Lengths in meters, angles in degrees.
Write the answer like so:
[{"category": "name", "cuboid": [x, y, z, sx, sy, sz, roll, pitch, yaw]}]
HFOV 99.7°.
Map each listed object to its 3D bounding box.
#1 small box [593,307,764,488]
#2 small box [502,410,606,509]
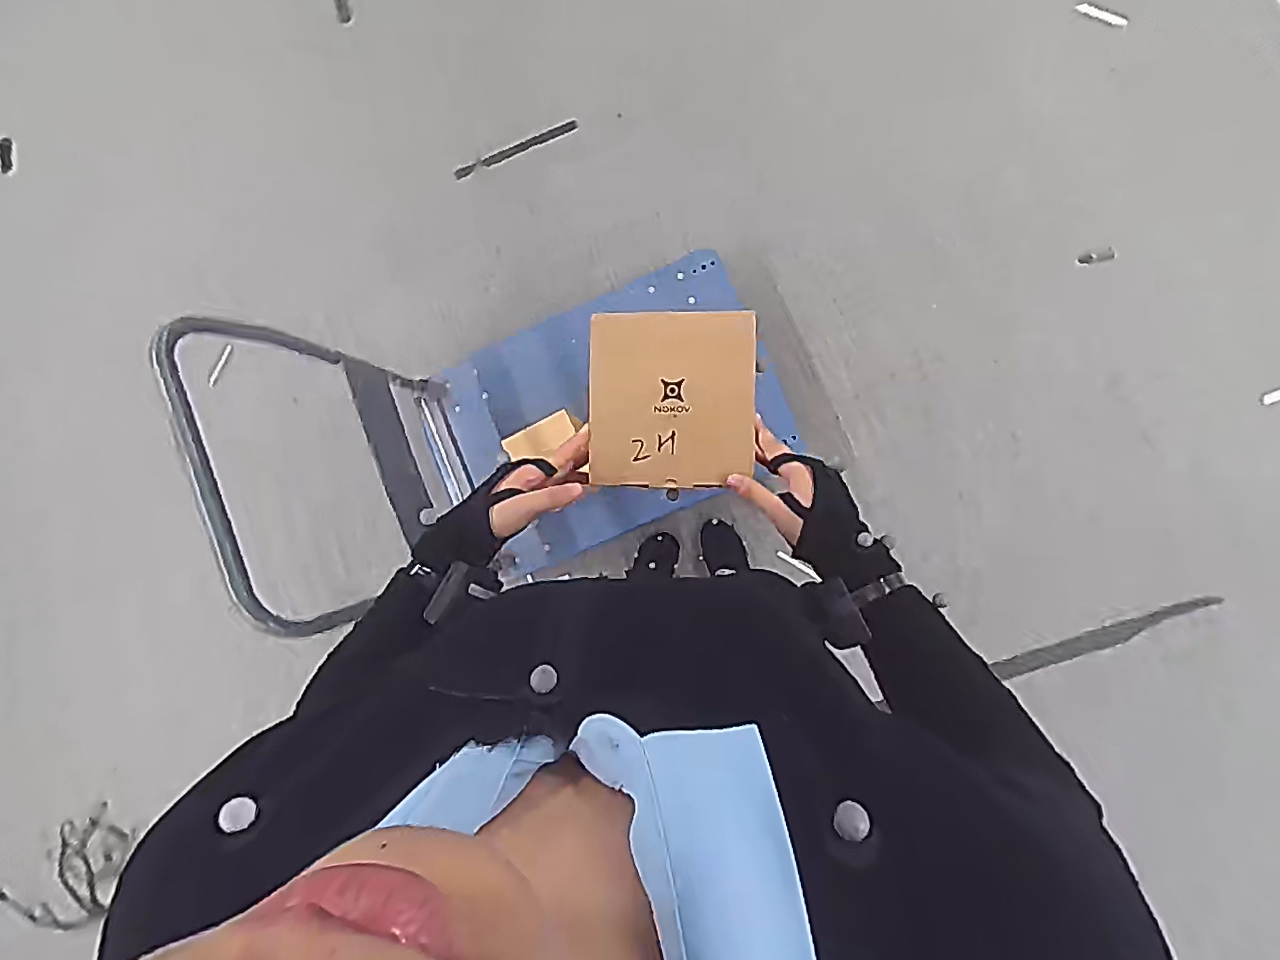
[{"category": "small box", "cuboid": [0.042, -0.081, 0.606, 0.168, 0.176, 0.179, 1, 90, 5]}, {"category": "small box", "cuboid": [-0.192, -0.040, 1.267, 0.168, 0.176, 0.179, -27, 85, 4]}]
